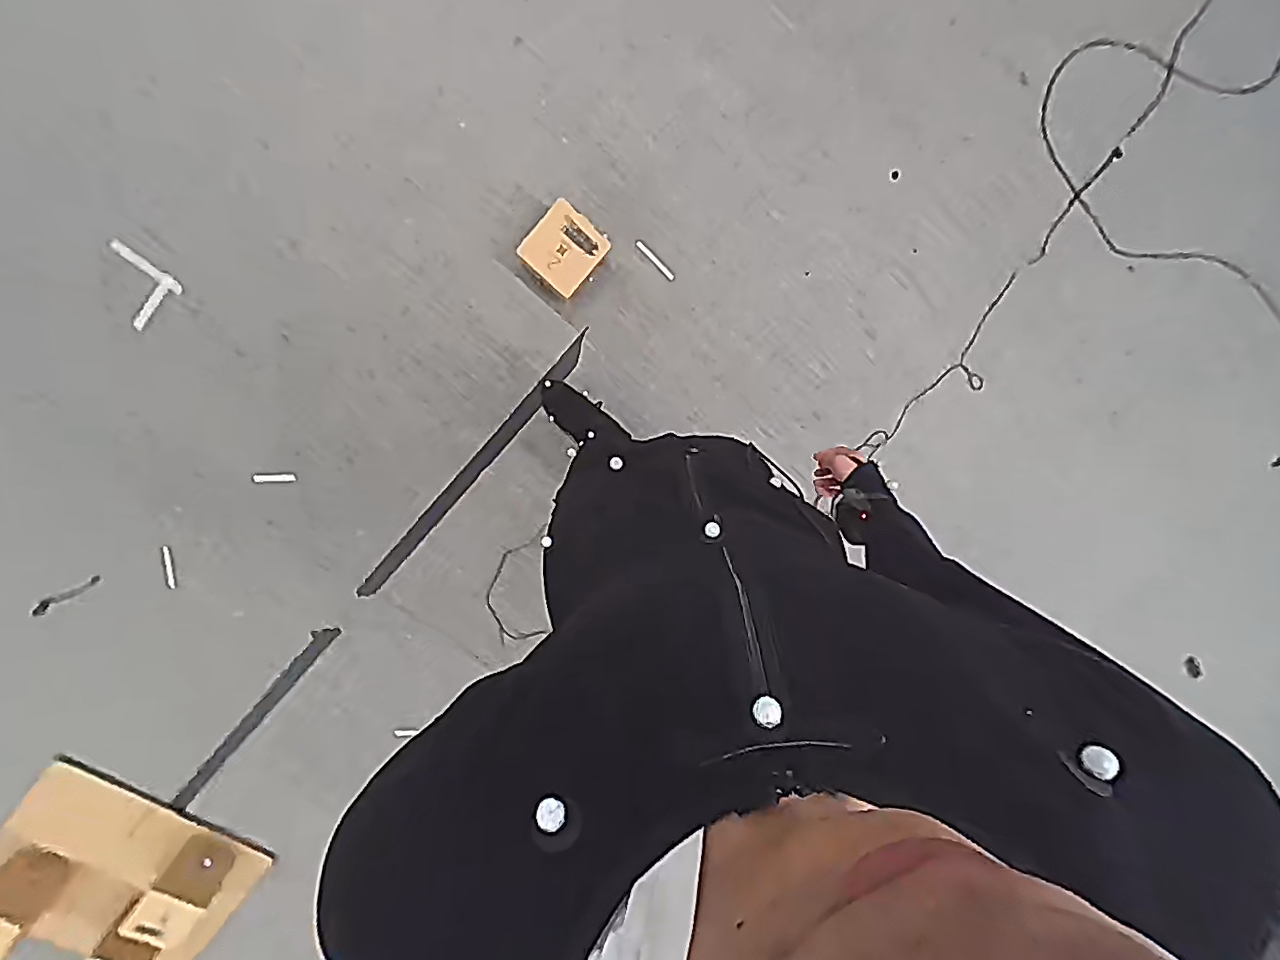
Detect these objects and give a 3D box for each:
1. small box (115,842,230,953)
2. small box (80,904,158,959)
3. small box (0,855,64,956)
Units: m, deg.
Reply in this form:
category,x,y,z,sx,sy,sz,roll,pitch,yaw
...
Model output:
category,x,y,z,sx,sy,sz,roll,pitch,yaw
small box,-1.394,1.252,1.627,0.168,0.176,0.179,38,94,-16
small box,-1.592,1.456,1.645,0.168,0.176,0.179,39,95,-16
small box,-1.848,1.243,1.560,0.168,0.176,0.179,35,96,-15
